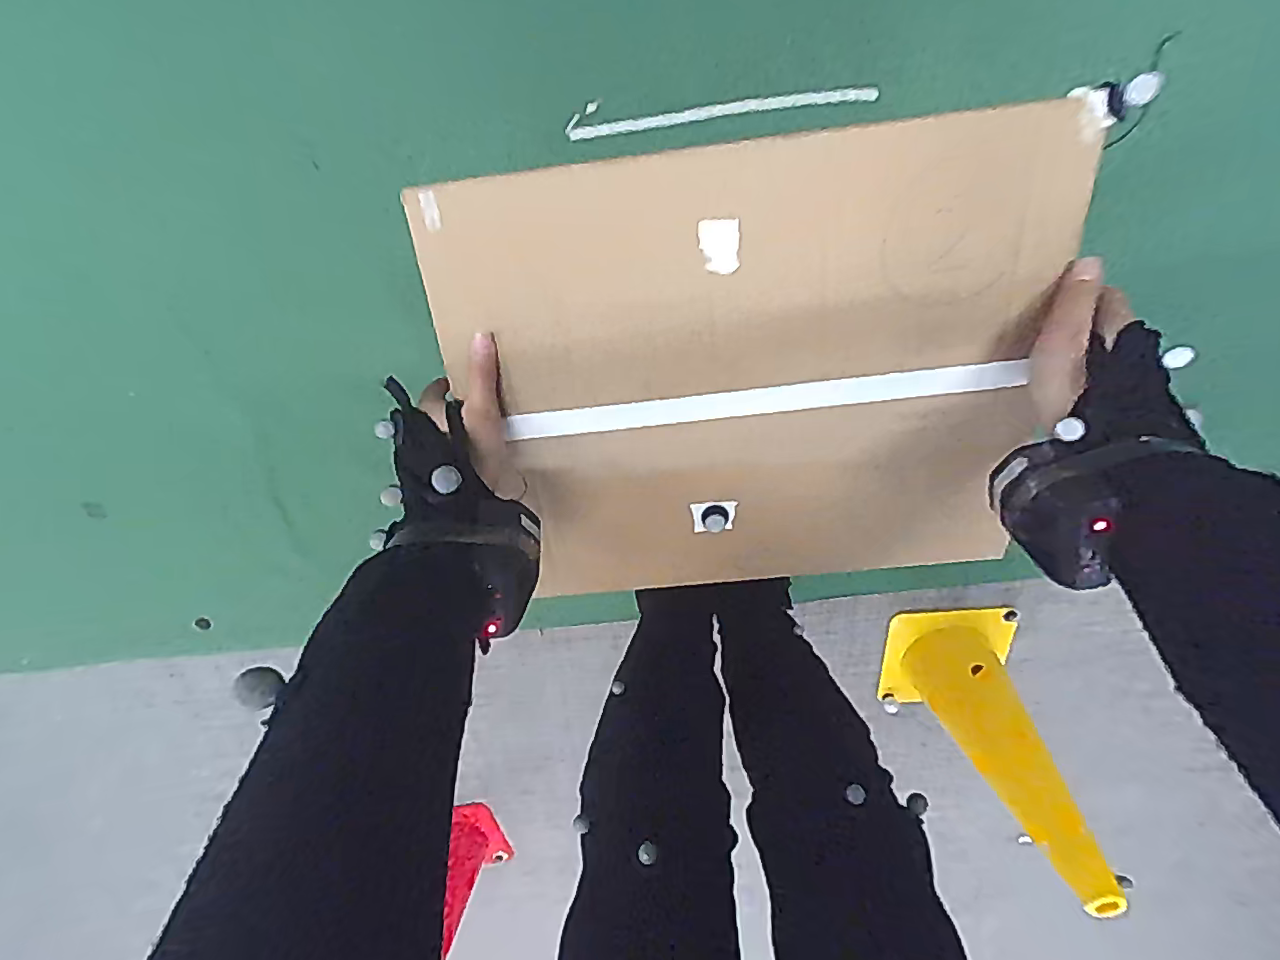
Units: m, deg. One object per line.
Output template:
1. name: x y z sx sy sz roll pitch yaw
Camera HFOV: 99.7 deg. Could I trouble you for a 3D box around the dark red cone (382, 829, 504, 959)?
1. dark red cone: -0.396 0.835 0.934 0.202 0.394 0.201 -13 112 8
